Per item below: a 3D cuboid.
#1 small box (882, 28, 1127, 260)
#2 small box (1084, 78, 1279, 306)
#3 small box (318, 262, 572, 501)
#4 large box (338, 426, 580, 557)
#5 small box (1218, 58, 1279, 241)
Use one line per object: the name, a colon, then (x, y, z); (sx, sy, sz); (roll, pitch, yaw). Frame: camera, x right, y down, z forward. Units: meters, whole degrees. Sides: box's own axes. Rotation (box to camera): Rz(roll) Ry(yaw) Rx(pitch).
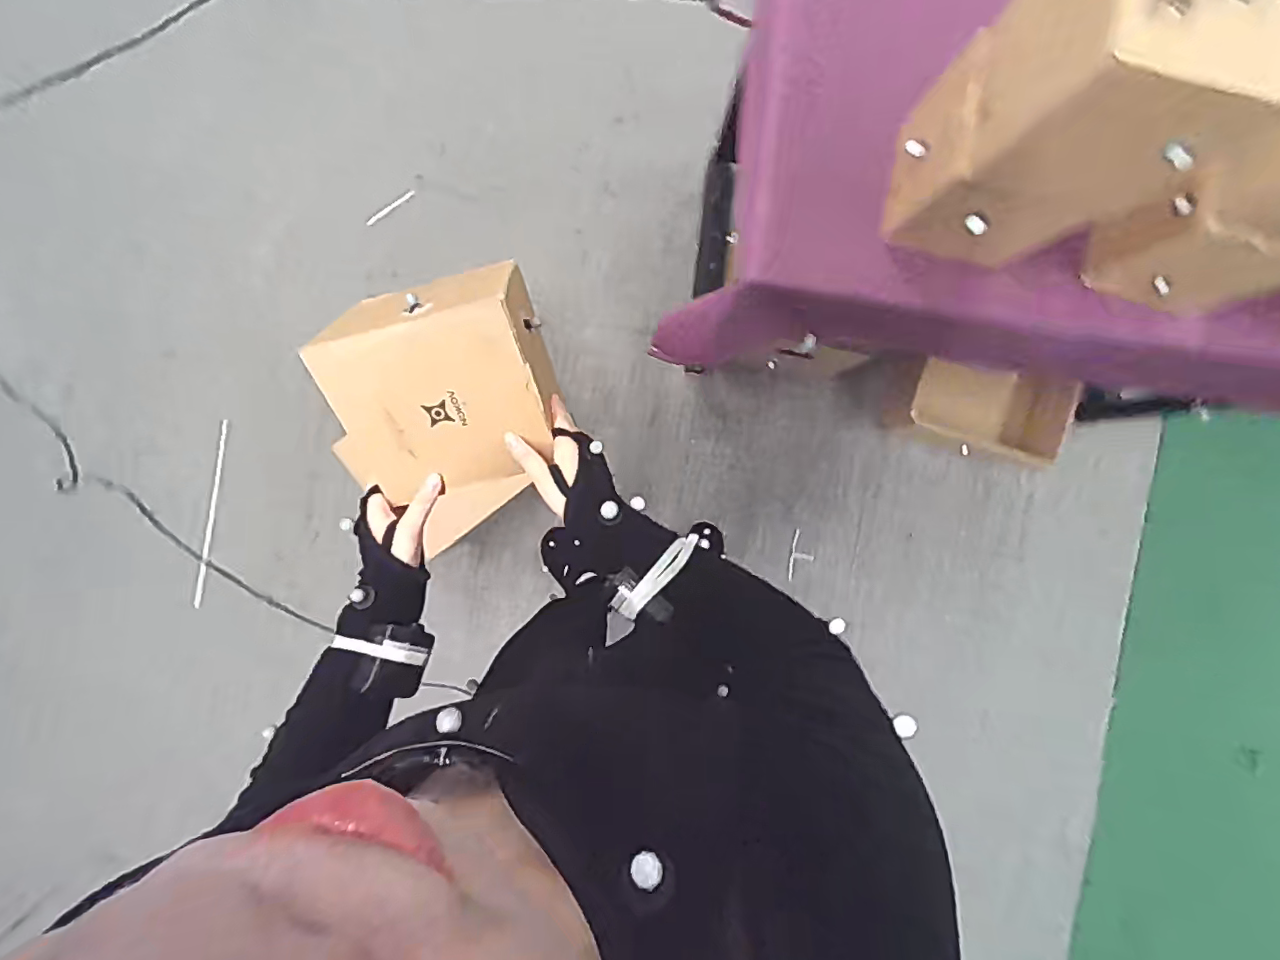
small box: (0.428, -0.393, 0.664); (0.179, 0.176, 0.168); (10, 91, -3)
small box: (0.721, -0.346, 0.686); (0.168, 0.176, 0.179); (15, 91, -4)
small box: (-0.175, -0.108, 0.549); (0.179, 0.176, 0.168); (-13, 123, 1)
large box: (-0.394, -0.077, 1.282); (0.408, 0.320, 0.320); (-38, 94, -3)
small box: (0.735, -0.350, 0.522); (0.168, 0.176, 0.179); (16, 91, -3)
